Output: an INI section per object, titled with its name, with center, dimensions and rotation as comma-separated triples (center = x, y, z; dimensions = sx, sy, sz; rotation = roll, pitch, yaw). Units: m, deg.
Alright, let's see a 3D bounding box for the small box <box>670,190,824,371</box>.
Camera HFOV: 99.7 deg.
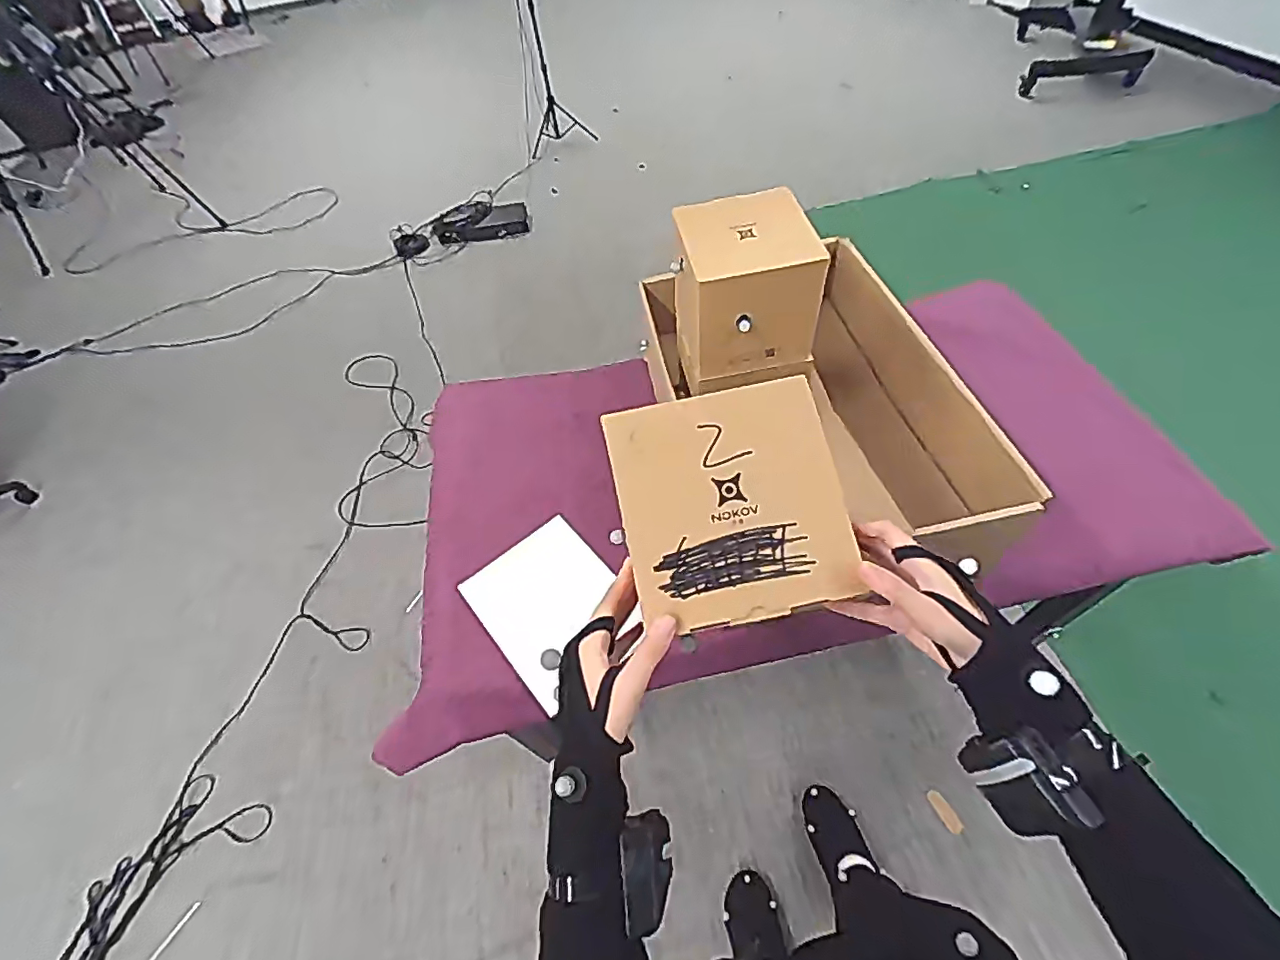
[small box]
center = 0.142, -0.272, 0.766
dimensions = 0.168, 0.176, 0.179
rotation = -11, 54, 0
